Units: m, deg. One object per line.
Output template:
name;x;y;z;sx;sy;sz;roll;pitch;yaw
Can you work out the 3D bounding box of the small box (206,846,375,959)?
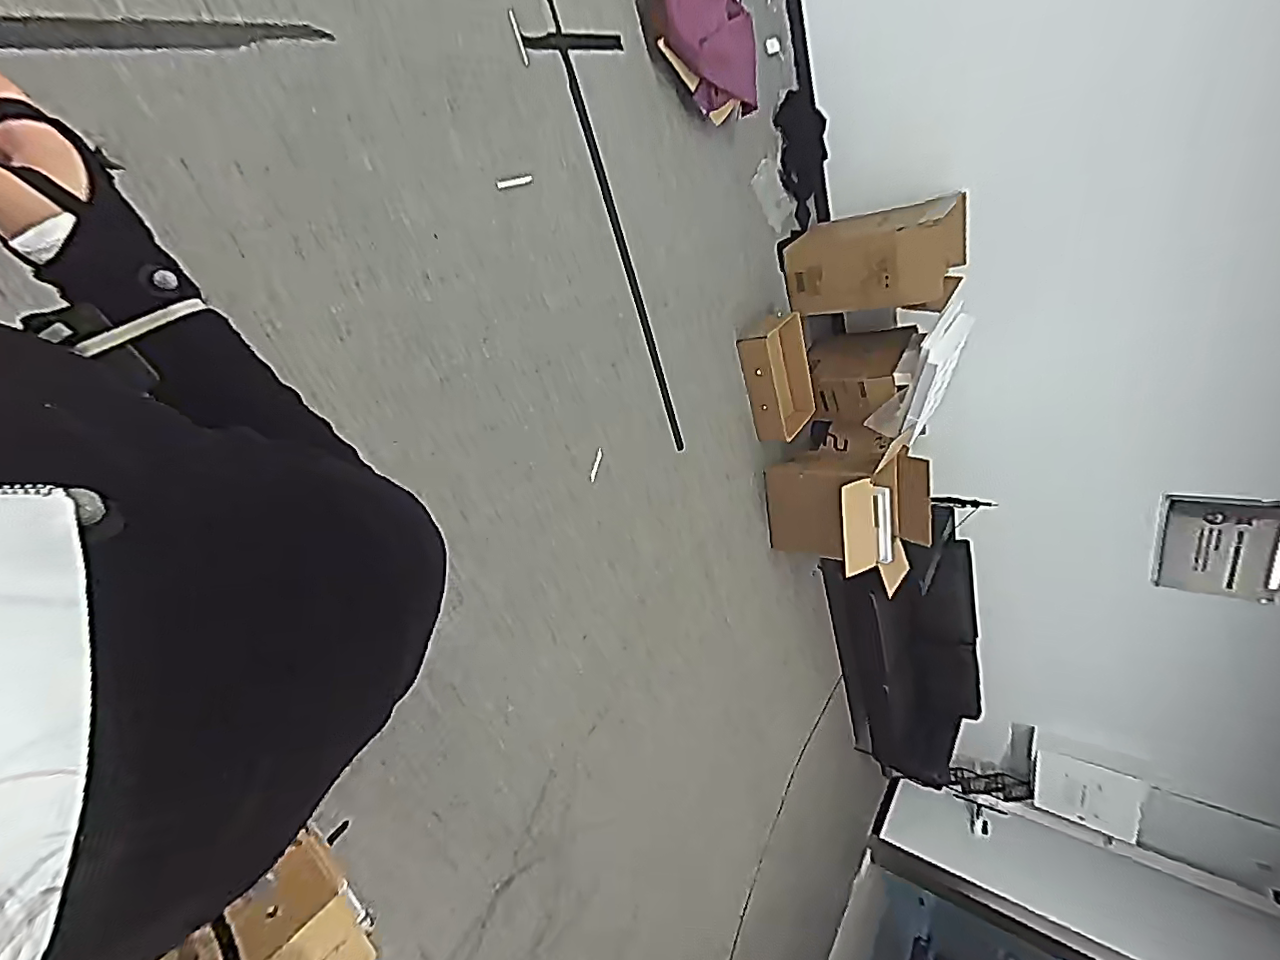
small box;-0.592;0.778;0.910;0.179;0.176;0.168;-33;116;-43
